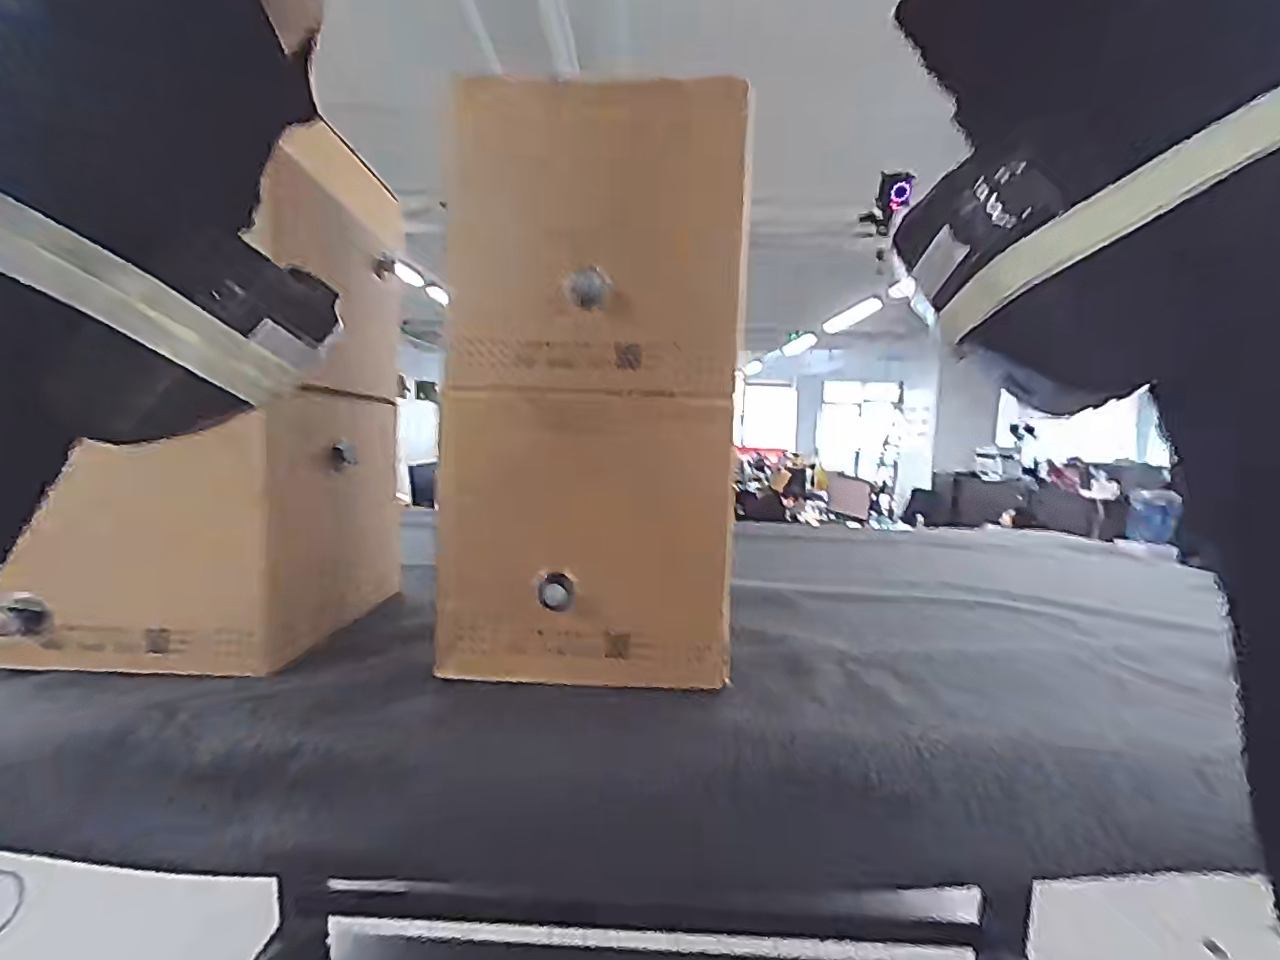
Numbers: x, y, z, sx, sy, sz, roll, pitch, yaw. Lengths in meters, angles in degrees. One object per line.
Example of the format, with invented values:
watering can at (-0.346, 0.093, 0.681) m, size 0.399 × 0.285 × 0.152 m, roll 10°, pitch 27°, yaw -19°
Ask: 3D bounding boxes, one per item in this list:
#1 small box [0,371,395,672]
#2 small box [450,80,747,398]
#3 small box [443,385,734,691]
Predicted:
small box at (-0.287, 0.021, 0.378) m, size 0.168 × 0.176 × 0.179 m, roll 3°, pitch 3°, yaw -2°
small box at (-0.023, -0.135, 0.377) m, size 0.168 × 0.176 × 0.179 m, roll 2°, pitch 4°, yaw 2°
small box at (-0.031, 0.029, 0.385) m, size 0.168 × 0.176 × 0.179 m, roll 1°, pitch 4°, yaw 0°
